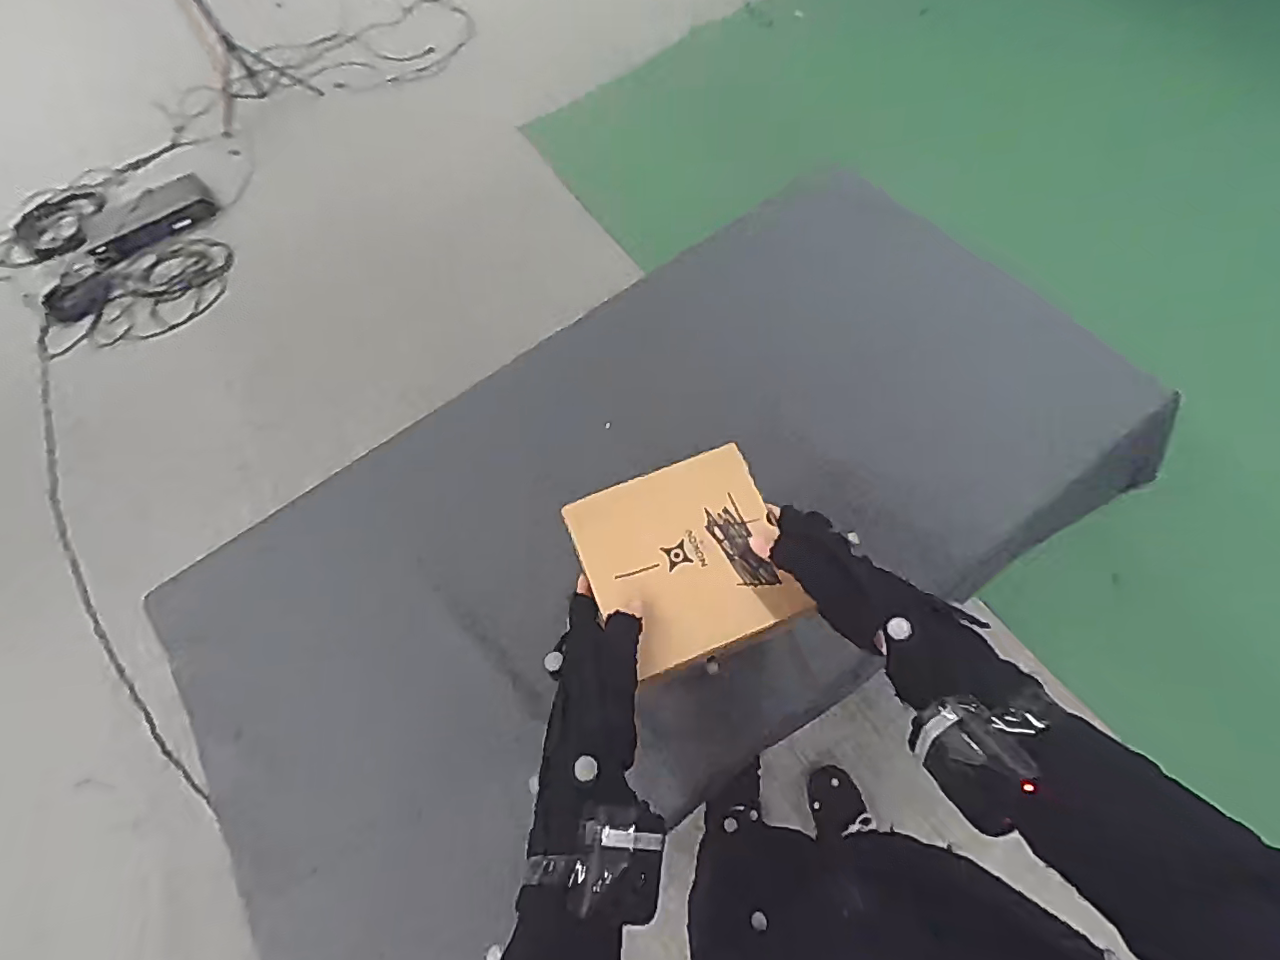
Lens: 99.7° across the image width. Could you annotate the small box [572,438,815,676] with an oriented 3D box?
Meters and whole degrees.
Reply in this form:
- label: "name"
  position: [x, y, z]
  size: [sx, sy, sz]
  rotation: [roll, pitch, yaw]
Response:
- label: "small box"
  position: [0.041, 0.085, 0.543]
  size: [0.179, 0.176, 0.168]
  rotation: [-16, 66, -7]
